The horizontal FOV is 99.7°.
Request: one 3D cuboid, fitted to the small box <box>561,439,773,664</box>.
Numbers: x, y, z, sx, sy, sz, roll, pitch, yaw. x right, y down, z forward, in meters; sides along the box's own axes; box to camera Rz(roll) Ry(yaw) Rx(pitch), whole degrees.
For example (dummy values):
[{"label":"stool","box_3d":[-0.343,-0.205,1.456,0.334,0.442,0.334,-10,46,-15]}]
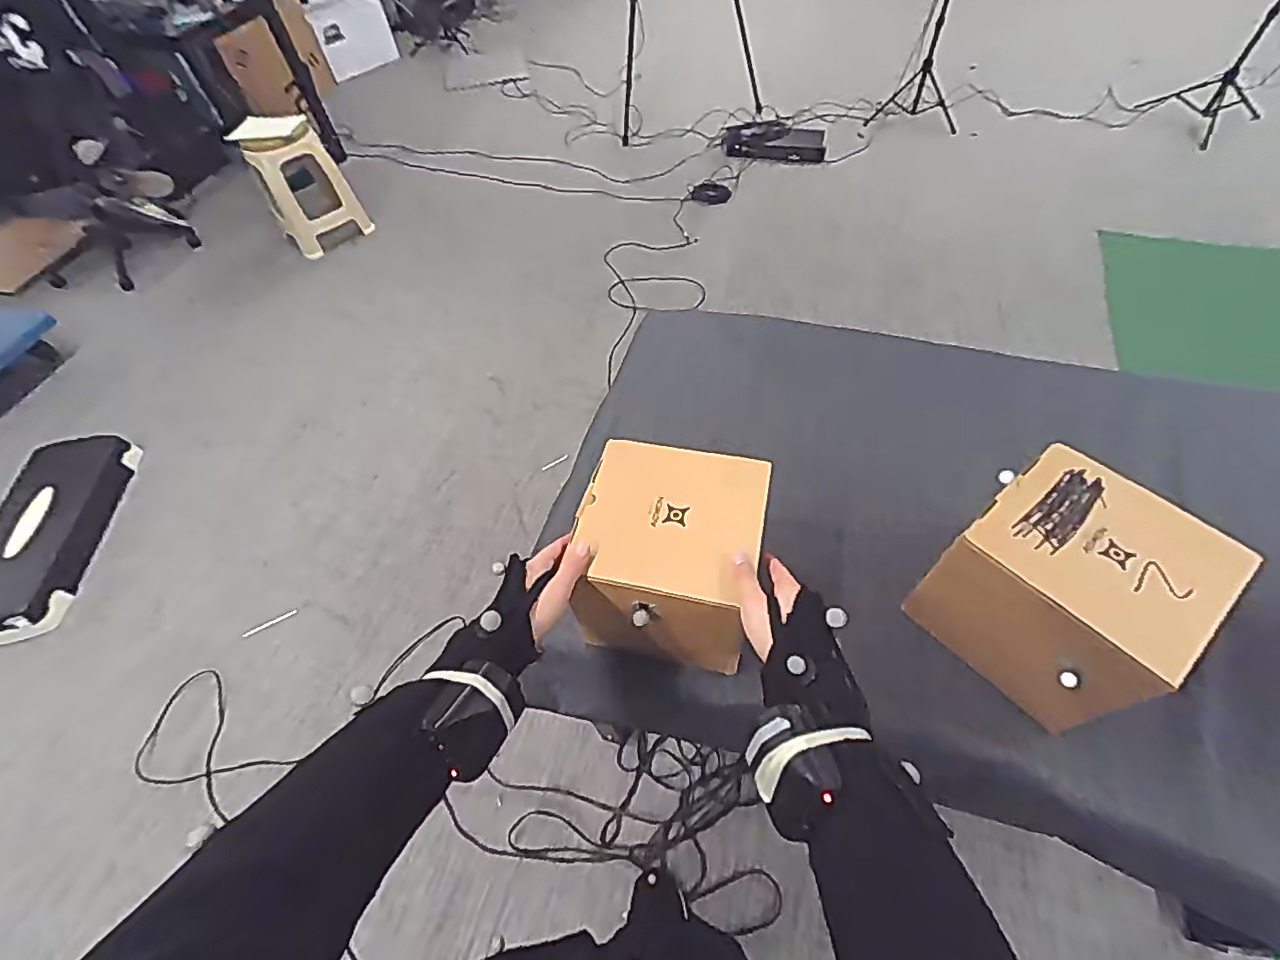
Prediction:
[{"label":"small box","box_3d":[0.037,0.080,0.575,0.179,0.176,0.168,7,53,12]}]
